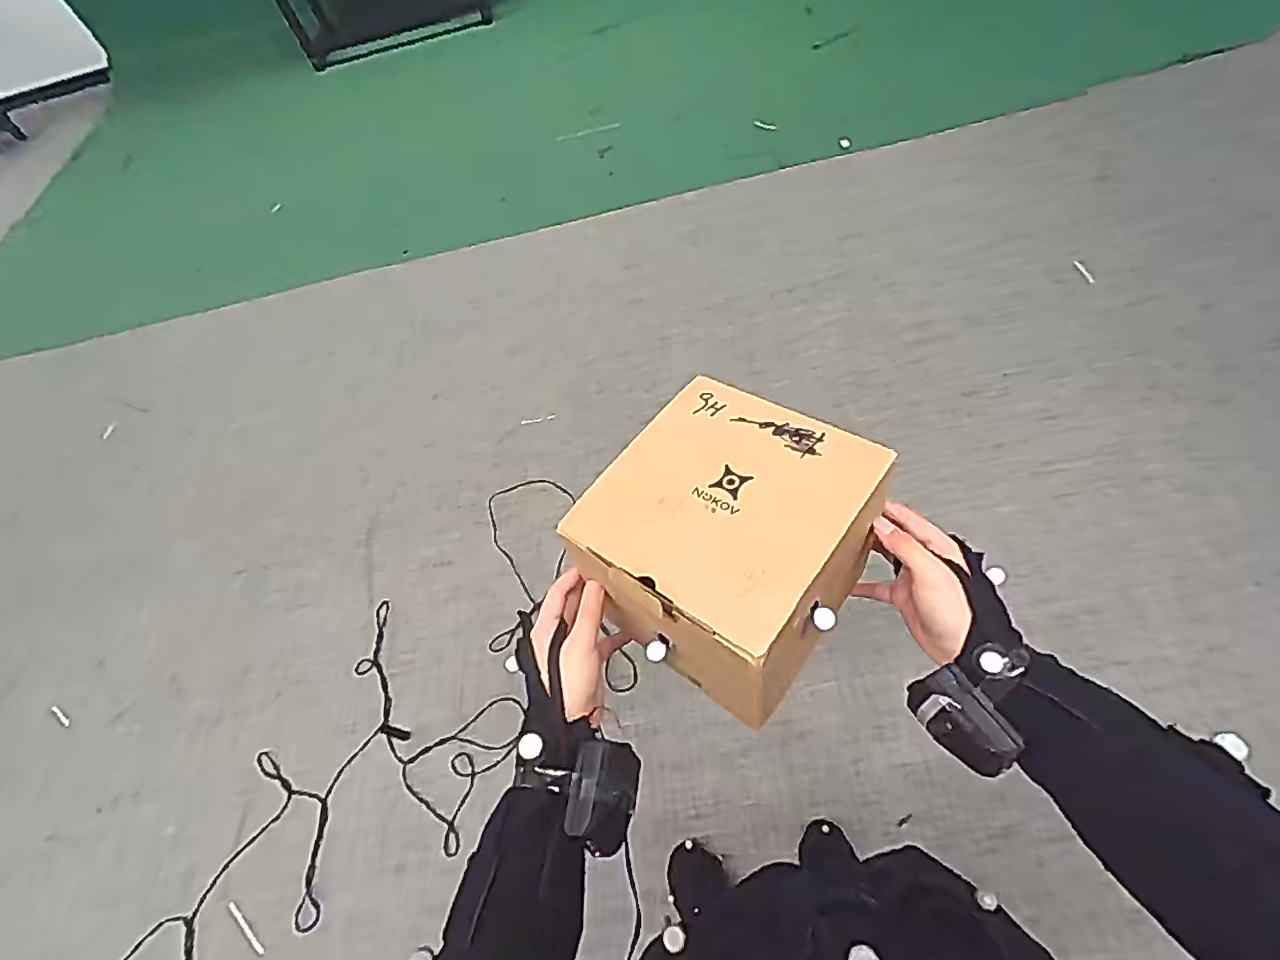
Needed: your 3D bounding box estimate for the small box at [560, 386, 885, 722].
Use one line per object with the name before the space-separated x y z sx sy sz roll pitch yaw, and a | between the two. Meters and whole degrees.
small box | 0.071 0.062 0.438 0.168 0.176 0.179 29 65 30
